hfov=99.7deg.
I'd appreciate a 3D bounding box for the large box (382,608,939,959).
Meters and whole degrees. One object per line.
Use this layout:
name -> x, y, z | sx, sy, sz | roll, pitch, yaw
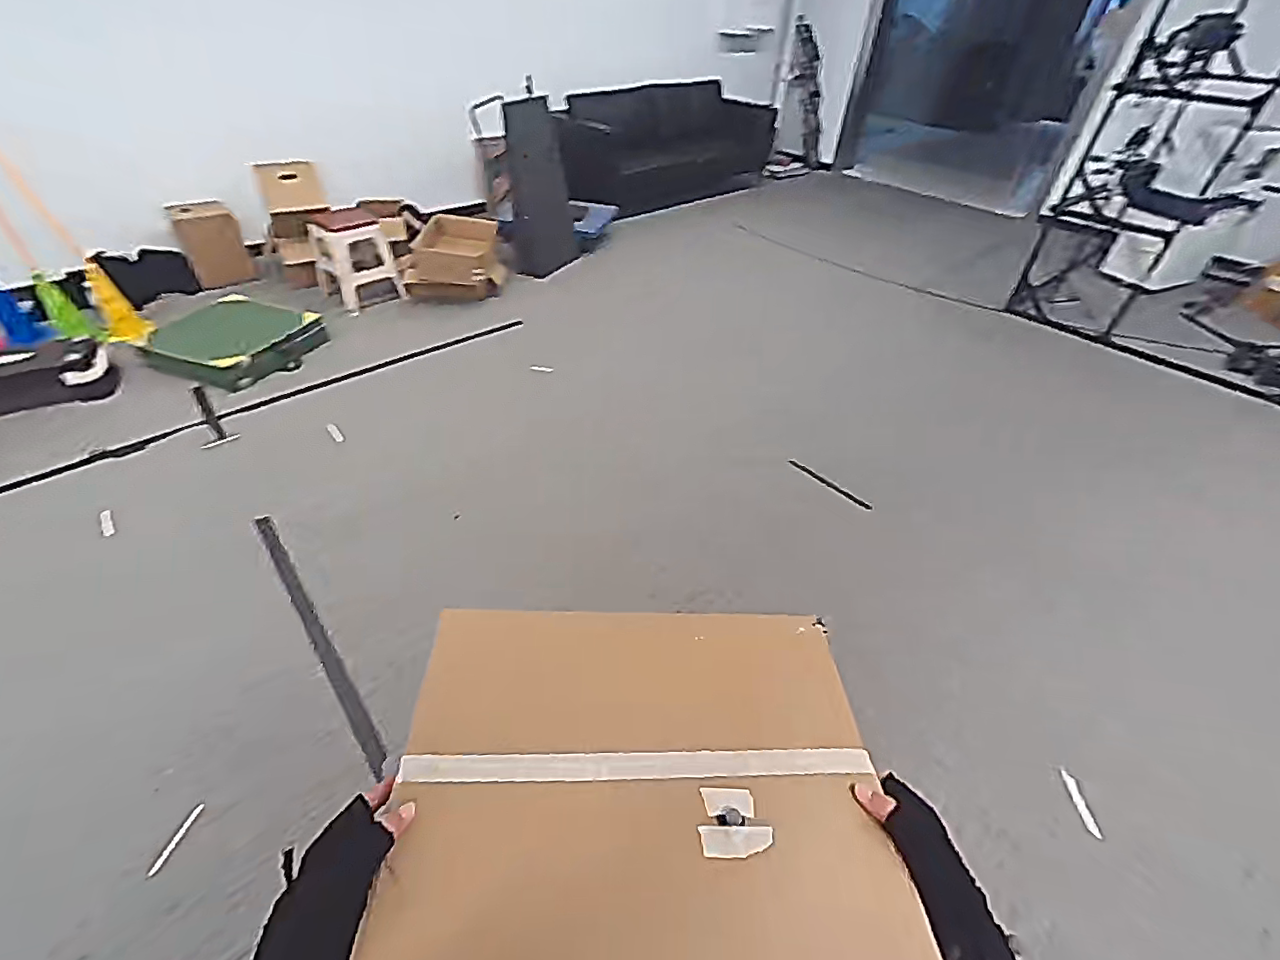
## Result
large box -> -0.003, 0.356, 0.574 | 0.408, 0.320, 0.320 | 3, 42, -6
